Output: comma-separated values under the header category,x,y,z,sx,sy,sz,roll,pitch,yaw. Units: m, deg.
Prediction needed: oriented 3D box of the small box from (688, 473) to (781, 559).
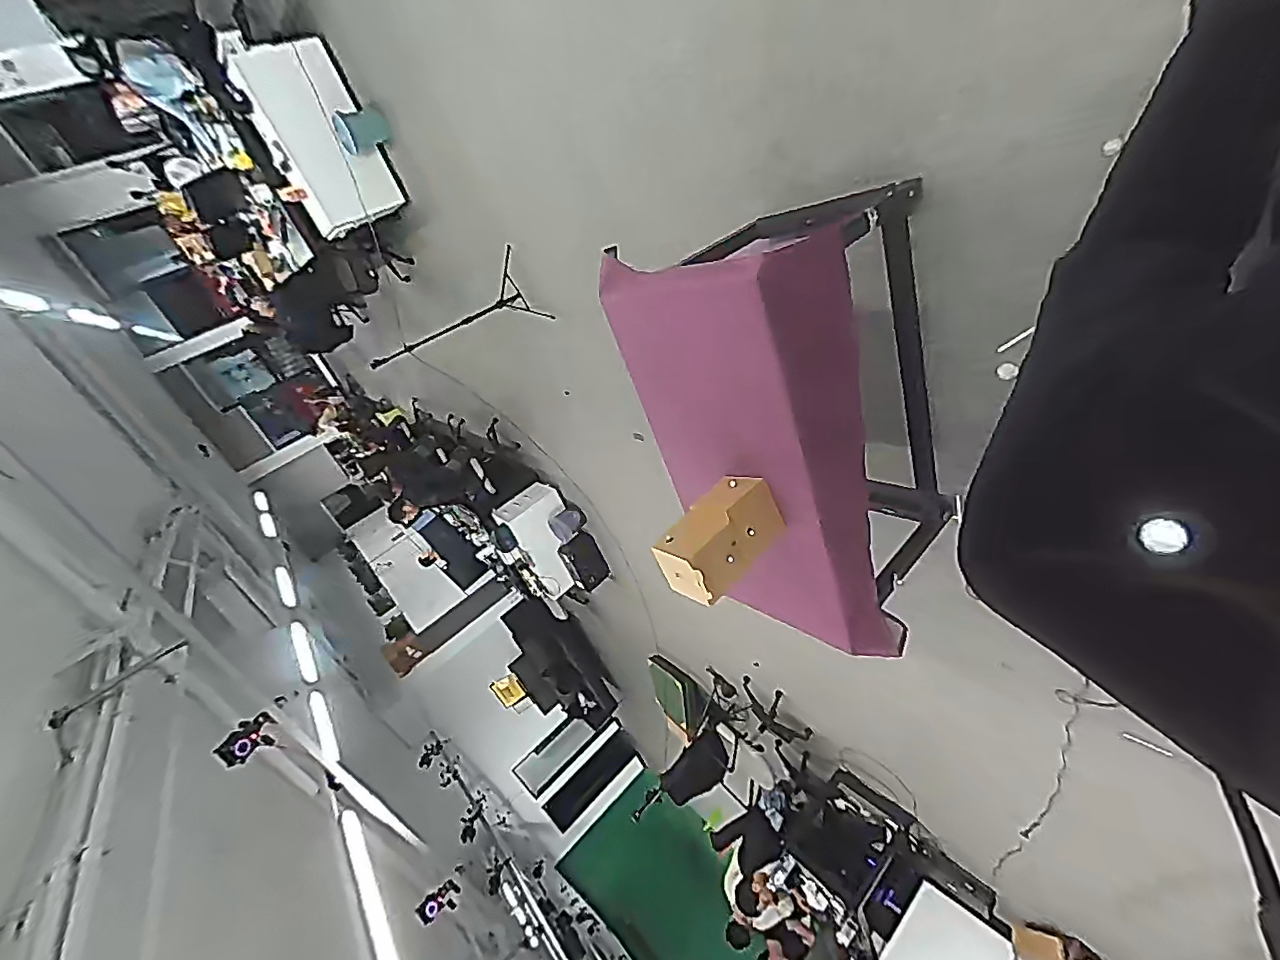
category,x,y,z,sx,sy,sz,roll,pitch,yaw
small box,0.277,0.099,1.564,0.168,0.176,0.179,4,127,57

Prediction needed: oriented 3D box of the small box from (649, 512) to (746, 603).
category,x,y,z,sx,sy,sz,roll,pitch,yaw
small box,0.164,0.208,1.510,0.179,0.176,0.168,11,134,54
